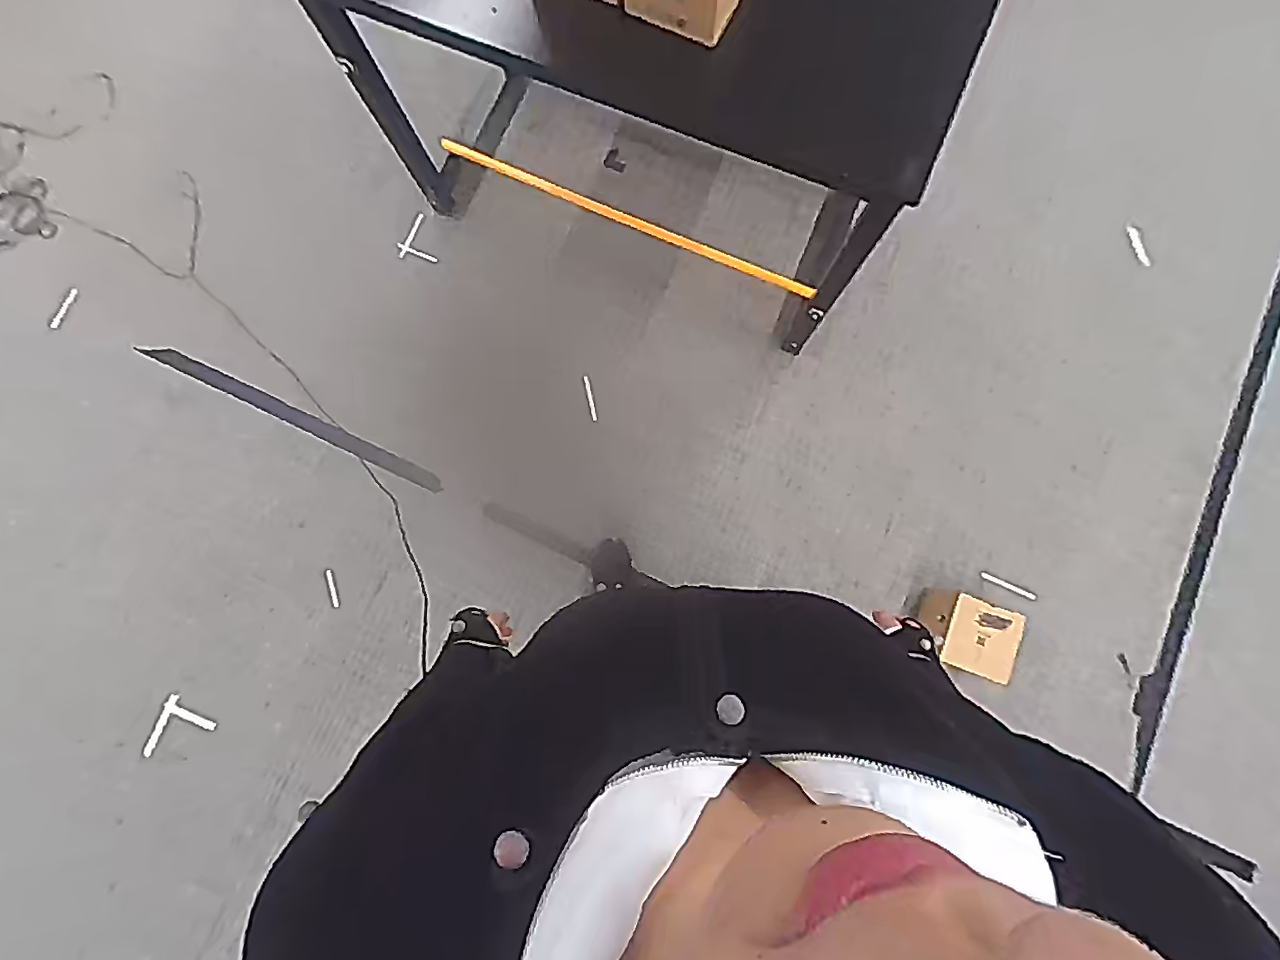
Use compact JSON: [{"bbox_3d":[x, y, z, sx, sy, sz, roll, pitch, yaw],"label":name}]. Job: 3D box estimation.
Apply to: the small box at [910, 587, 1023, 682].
[{"bbox_3d":[0.826,0.385,1.386,0.168,0.176,0.179,21,84,4],"label":"small box"}]
